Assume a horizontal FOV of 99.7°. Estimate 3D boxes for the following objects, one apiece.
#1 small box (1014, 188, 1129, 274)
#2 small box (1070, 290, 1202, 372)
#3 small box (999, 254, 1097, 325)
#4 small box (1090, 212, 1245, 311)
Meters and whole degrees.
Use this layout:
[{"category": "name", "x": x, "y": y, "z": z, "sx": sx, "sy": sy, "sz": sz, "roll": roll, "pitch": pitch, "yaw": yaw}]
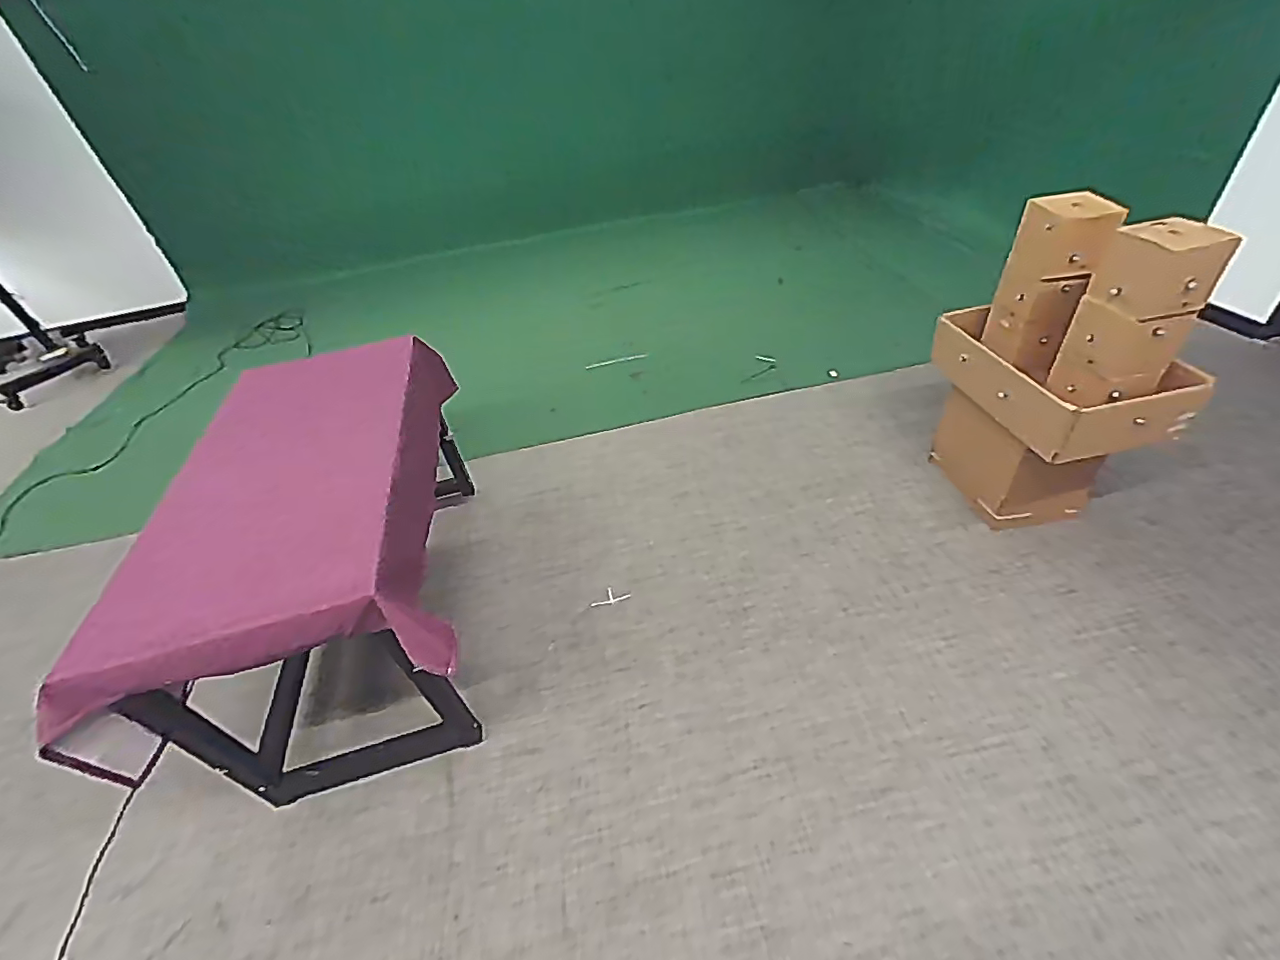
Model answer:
[{"category": "small box", "x": 1.203, "y": -0.702, "z": 1.527, "sx": 0.168, "sy": 0.176, "sz": 0.179, "roll": -6, "pitch": 44, "yaw": 4}, {"category": "small box", "x": 1.277, "y": -0.400, "z": 1.415, "sx": 0.179, "sy": 0.176, "sz": 0.168, "roll": -12, "pitch": 41, "yaw": -1}, {"category": "small box", "x": 1.228, "y": -0.586, "z": 1.639, "sx": 0.179, "sy": 0.176, "sz": 0.168, "roll": -8, "pitch": 42, "yaw": 1}, {"category": "small box", "x": 1.257, "y": -0.521, "z": 1.306, "sx": 0.168, "sy": 0.176, "sz": 0.179, "roll": -11, "pitch": 41, "yaw": -1}]
